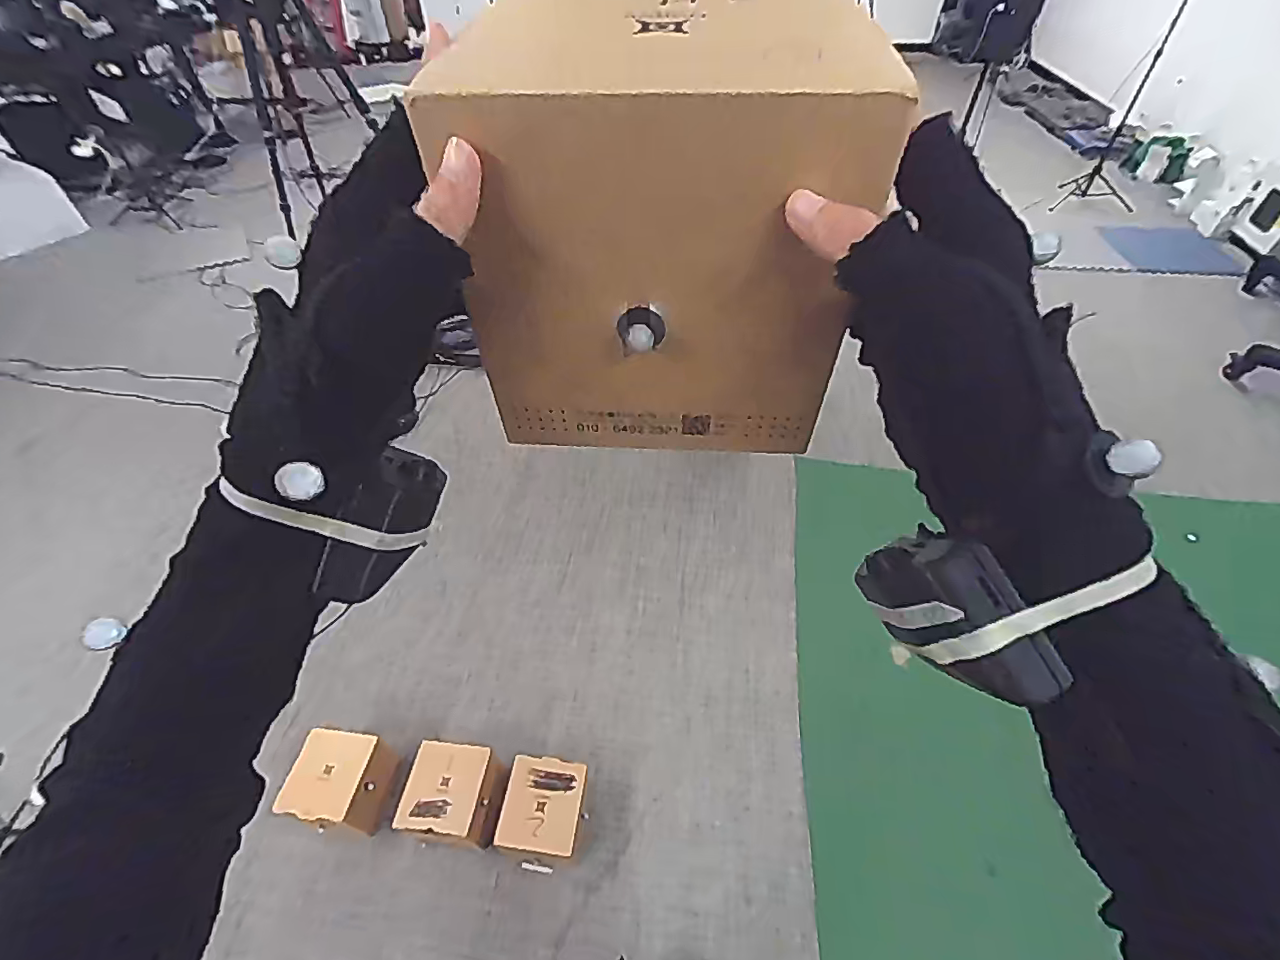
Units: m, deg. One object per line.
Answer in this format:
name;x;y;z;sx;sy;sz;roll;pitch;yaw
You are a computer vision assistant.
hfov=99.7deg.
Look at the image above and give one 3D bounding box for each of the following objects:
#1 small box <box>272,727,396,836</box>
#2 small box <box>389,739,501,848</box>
small box;-0.697;0.704;1.261;0.168;0.176;0.179;4;48;6
small box;-0.432;0.719;1.236;0.168;0.176;0.179;4;46;6
